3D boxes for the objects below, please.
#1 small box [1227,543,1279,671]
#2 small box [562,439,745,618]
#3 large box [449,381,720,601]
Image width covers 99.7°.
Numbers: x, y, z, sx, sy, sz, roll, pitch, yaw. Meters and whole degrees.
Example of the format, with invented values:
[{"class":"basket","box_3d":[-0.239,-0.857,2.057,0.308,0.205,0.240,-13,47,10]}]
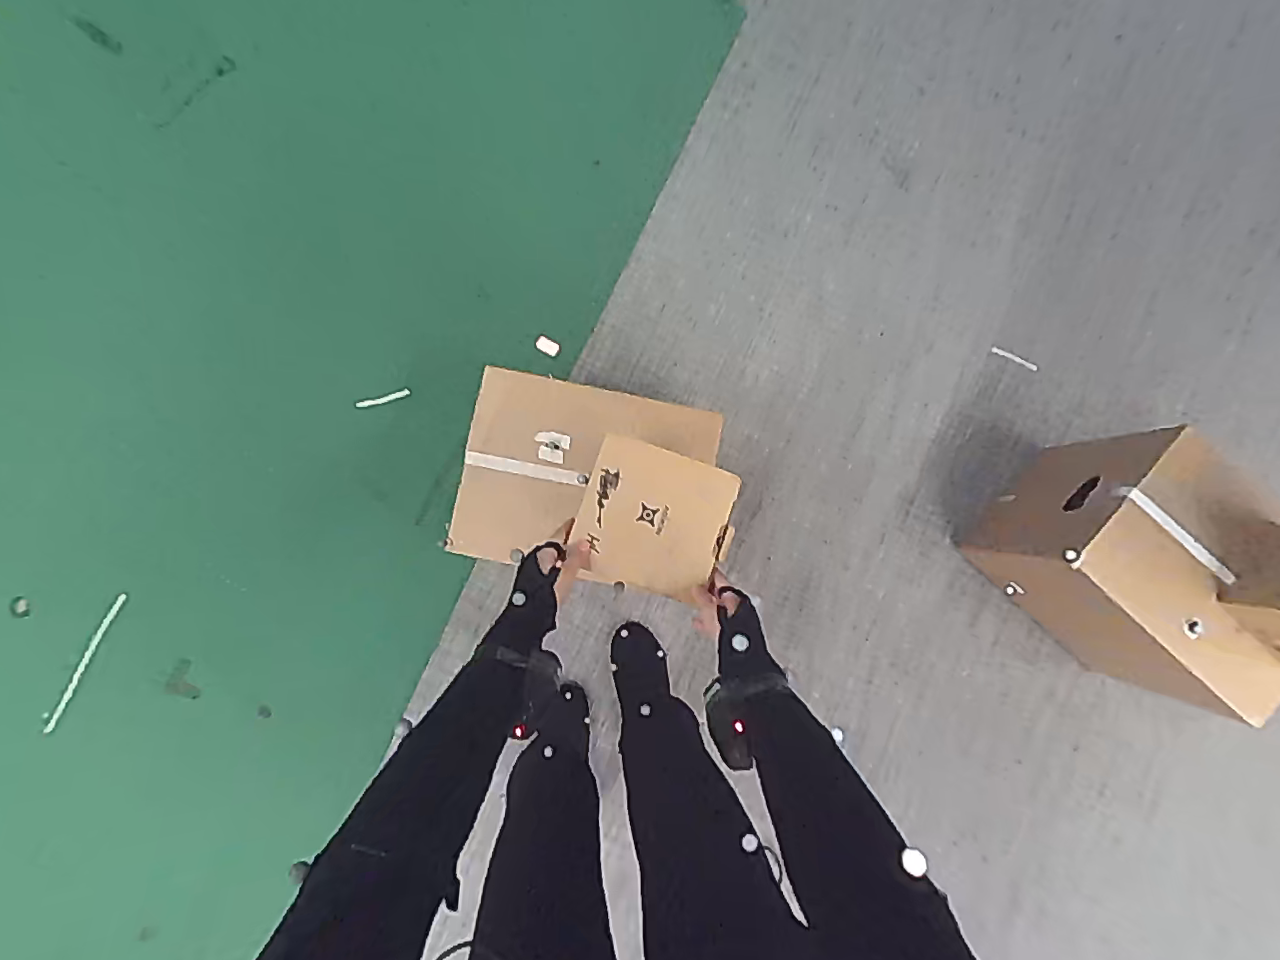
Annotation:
[{"class":"small box","box_3d":[1.045,0.196,0.789,0.168,0.176,0.179,44,85,3]},{"class":"small box","box_3d":[0.008,0.065,0.705,0.179,0.176,0.168,20,80,-5]},{"class":"large box","box_3d":[-0.085,0.029,1.030,0.408,0.320,0.320,12,85,1]}]
